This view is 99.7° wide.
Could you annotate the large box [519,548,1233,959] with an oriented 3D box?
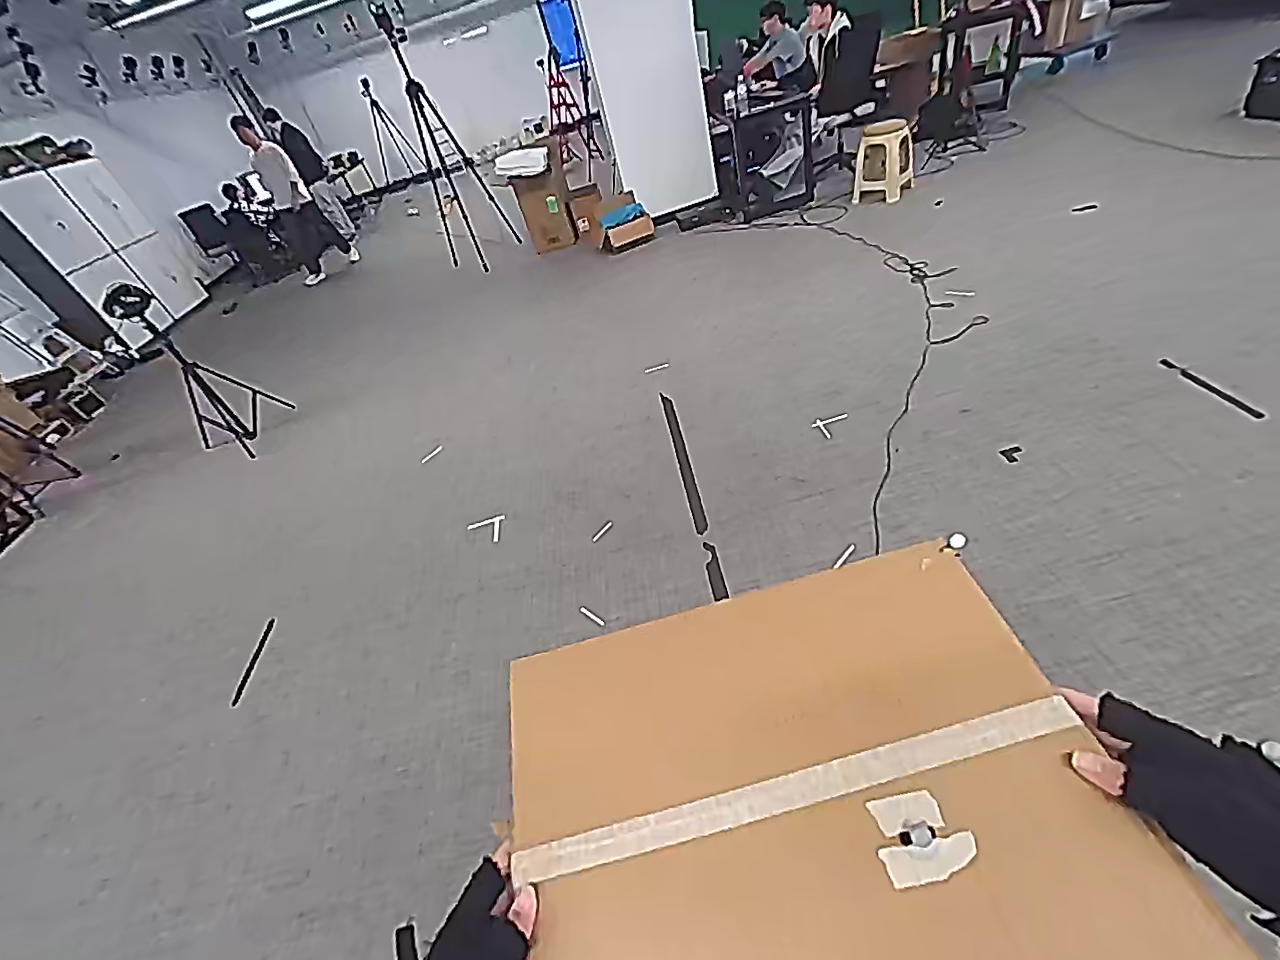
[{"bbox_3d":[0.137,0.322,0.503,0.408,0.320,0.320,-16,48,0],"label":"large box"}]
